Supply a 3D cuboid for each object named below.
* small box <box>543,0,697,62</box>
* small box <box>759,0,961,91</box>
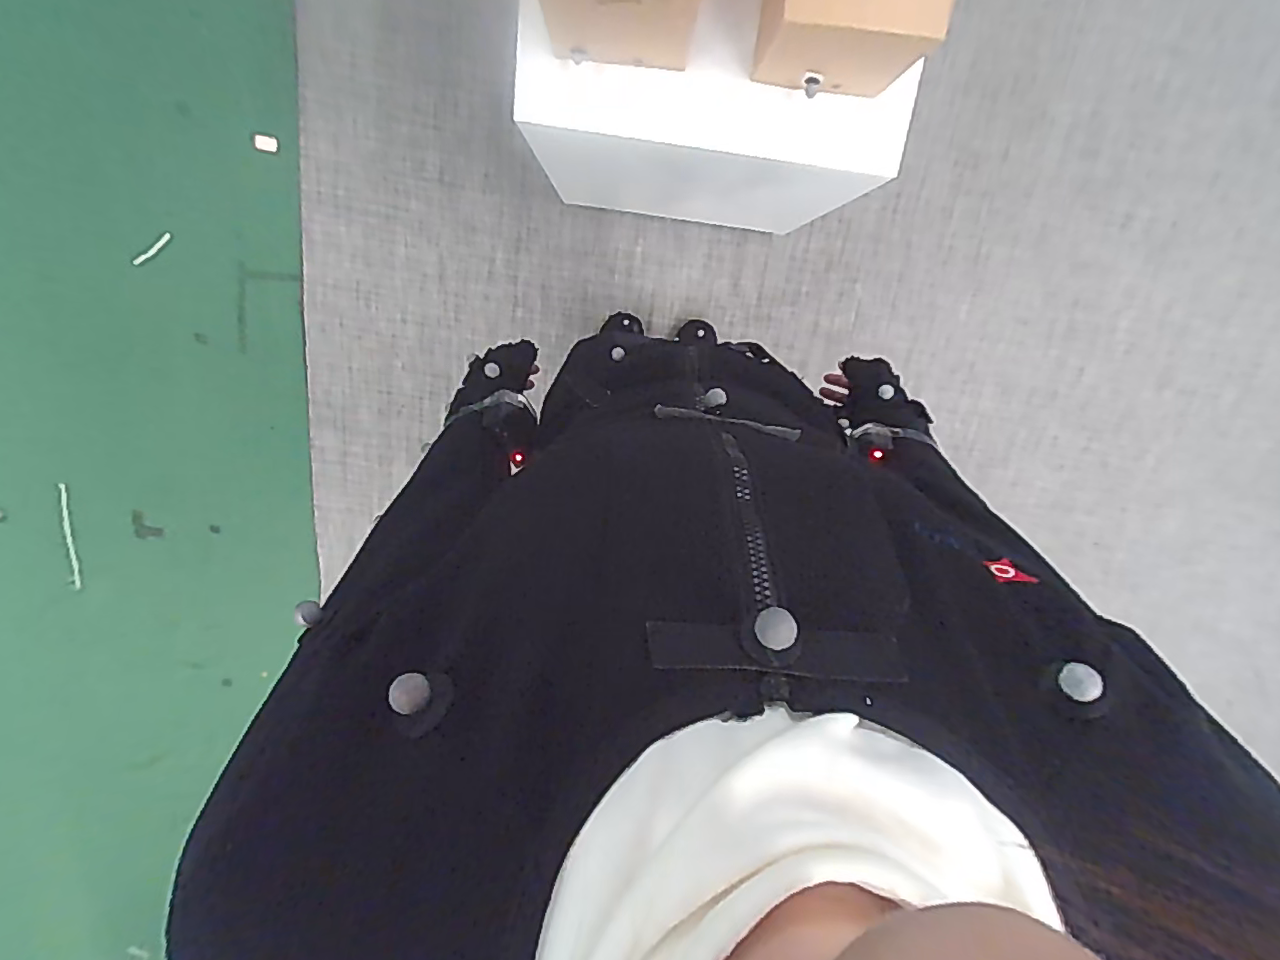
[{"bbox_3d":[-0.015,-0.580,0.570,0.168,0.176,0.179,4,106,-2],"label":"small box"},{"bbox_3d":[0.230,-0.547,0.568,0.168,0.176,0.179,5,109,0],"label":"small box"}]
